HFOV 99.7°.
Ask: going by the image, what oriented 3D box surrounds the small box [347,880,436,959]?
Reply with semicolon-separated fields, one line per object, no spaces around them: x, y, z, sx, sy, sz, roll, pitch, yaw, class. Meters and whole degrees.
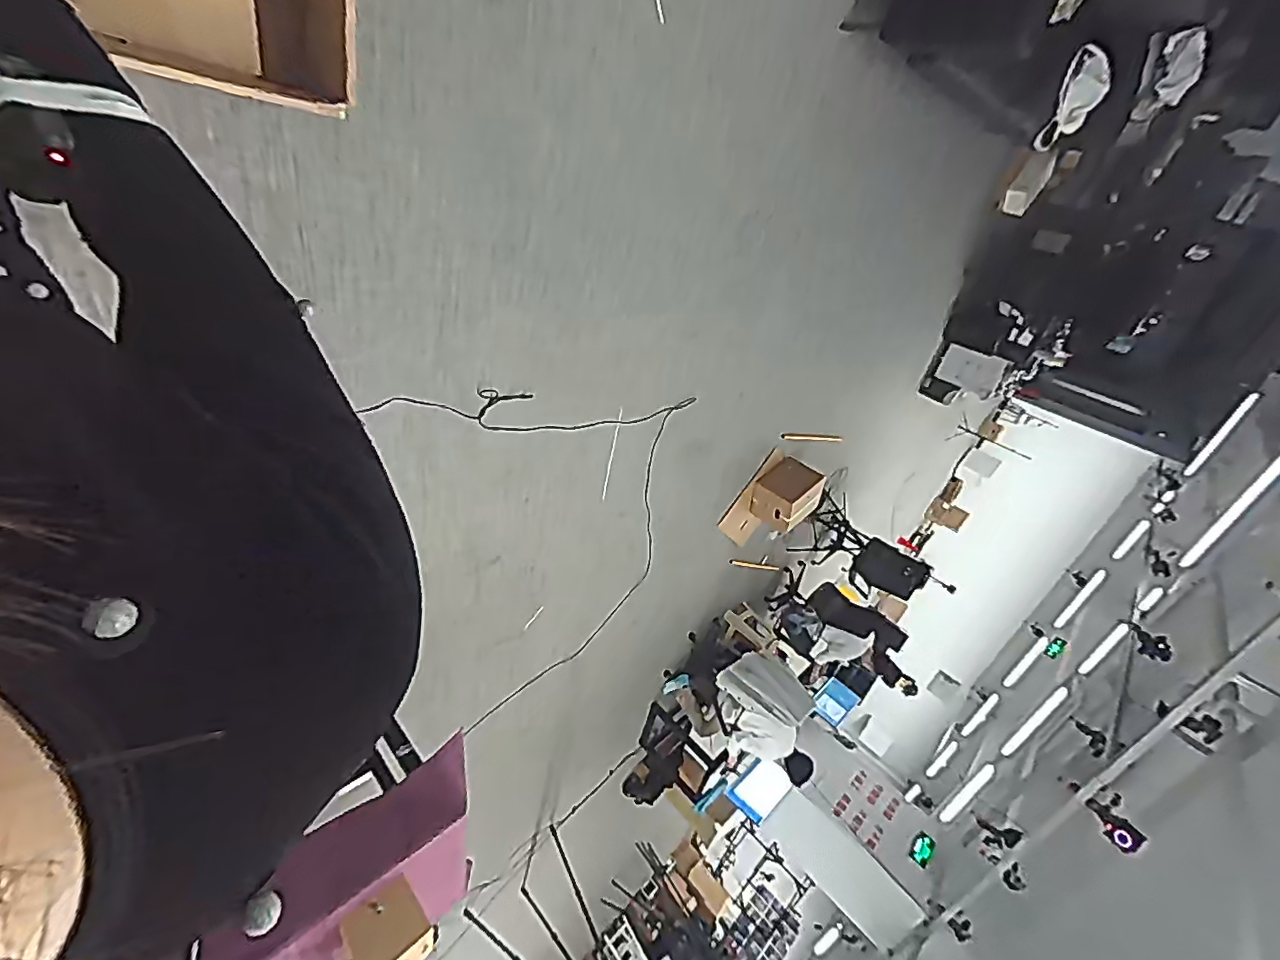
-0.669;1.241;1.453;0.179;0.176;0.168;-19;134;-41;small box
